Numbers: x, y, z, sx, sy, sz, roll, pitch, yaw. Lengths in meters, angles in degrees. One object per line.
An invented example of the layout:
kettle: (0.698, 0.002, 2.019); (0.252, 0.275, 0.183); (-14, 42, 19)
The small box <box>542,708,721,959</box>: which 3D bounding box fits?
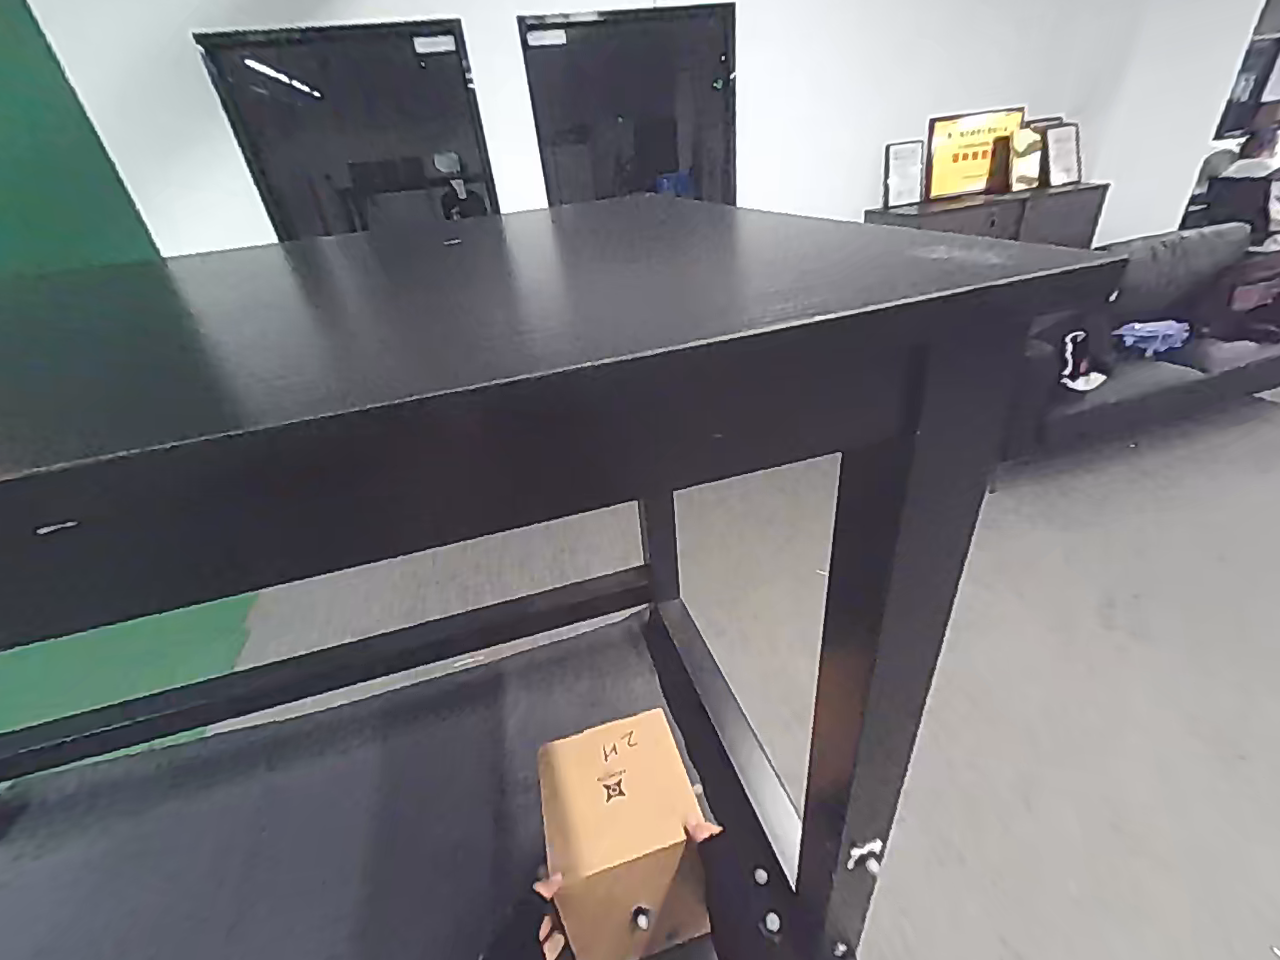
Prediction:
small box: (-0.013, 0.420, 0.647); (0.168, 0.176, 0.179); (-14, 23, -9)
